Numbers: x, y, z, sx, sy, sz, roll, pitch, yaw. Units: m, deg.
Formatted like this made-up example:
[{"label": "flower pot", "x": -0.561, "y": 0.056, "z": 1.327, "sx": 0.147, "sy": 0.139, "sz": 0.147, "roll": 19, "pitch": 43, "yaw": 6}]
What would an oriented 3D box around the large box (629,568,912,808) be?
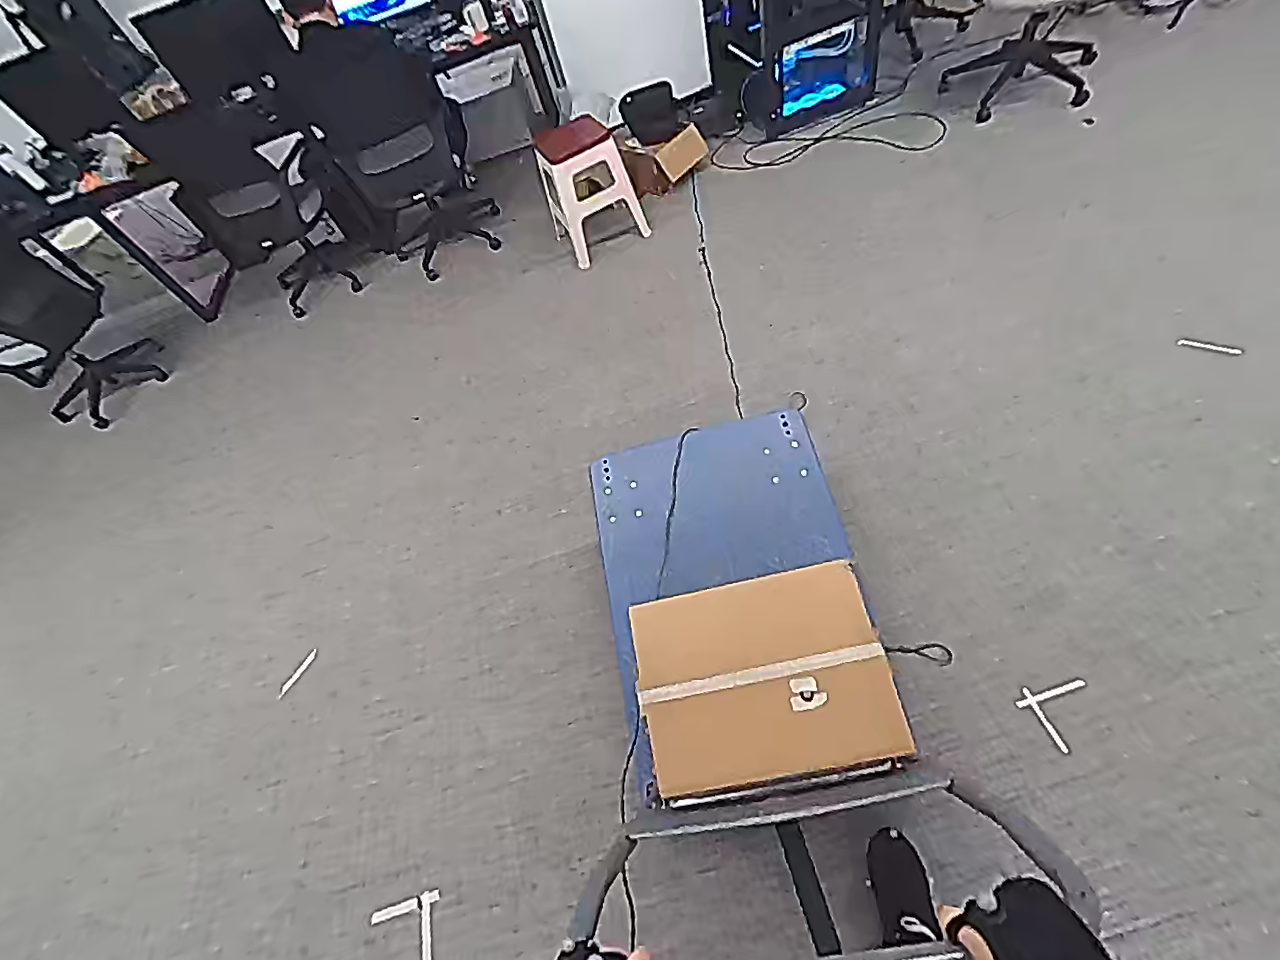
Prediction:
[{"label": "large box", "x": 0.224, "y": 0.394, "z": 1.033, "sx": 0.408, "sy": 0.320, "sz": 0.320, "roll": -14, "pitch": 66, "yaw": 6}]
